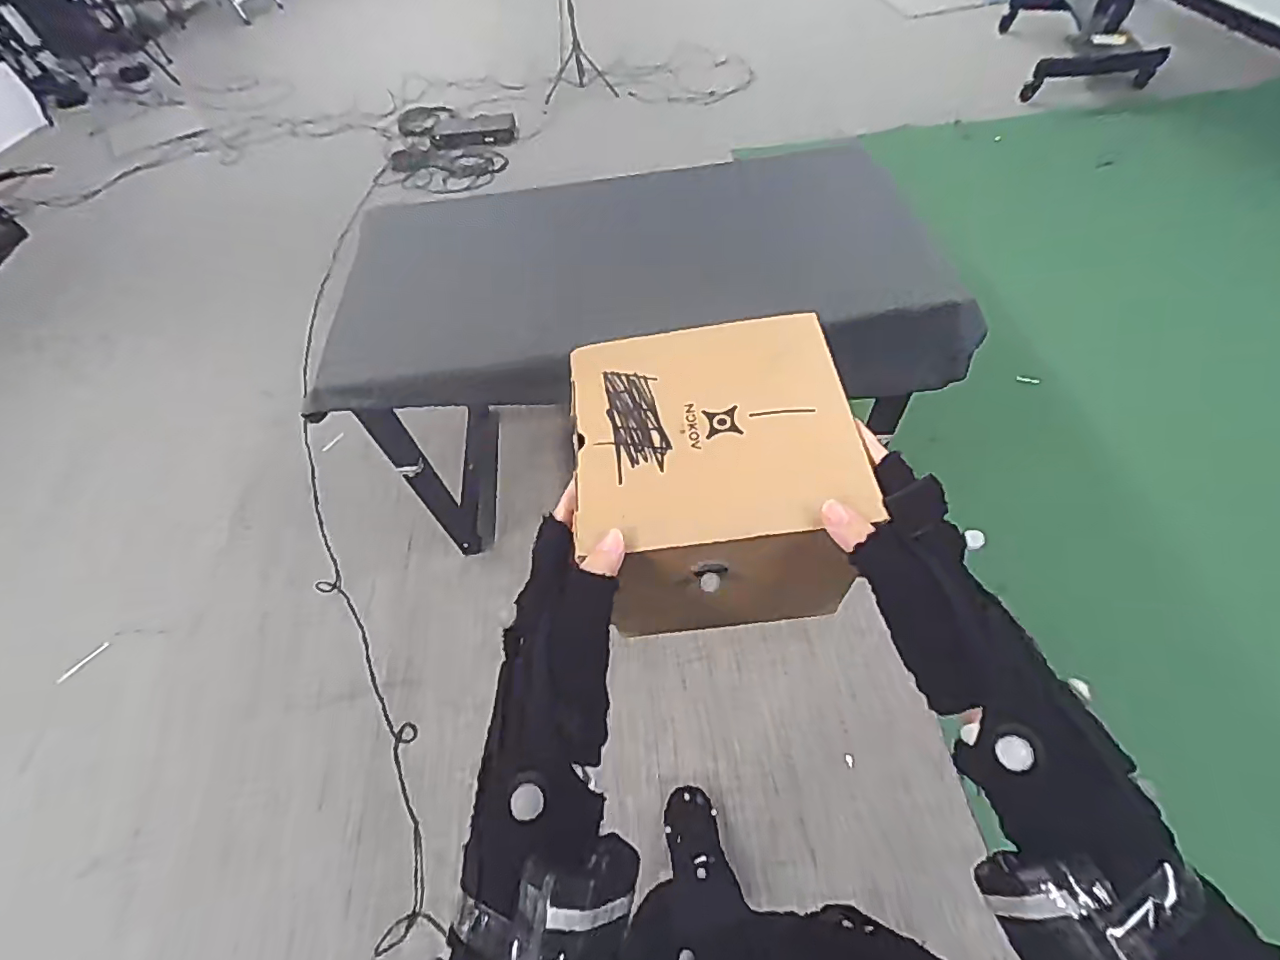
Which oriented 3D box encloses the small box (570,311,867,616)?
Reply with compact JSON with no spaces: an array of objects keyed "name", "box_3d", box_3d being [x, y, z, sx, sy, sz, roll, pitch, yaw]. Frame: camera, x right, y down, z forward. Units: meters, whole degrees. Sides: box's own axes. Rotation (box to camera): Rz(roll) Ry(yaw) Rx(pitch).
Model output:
[{"name":"small box","box_3d":[0.050,-0.002,0.421,0.179,0.176,0.168,-7,58,3]}]
